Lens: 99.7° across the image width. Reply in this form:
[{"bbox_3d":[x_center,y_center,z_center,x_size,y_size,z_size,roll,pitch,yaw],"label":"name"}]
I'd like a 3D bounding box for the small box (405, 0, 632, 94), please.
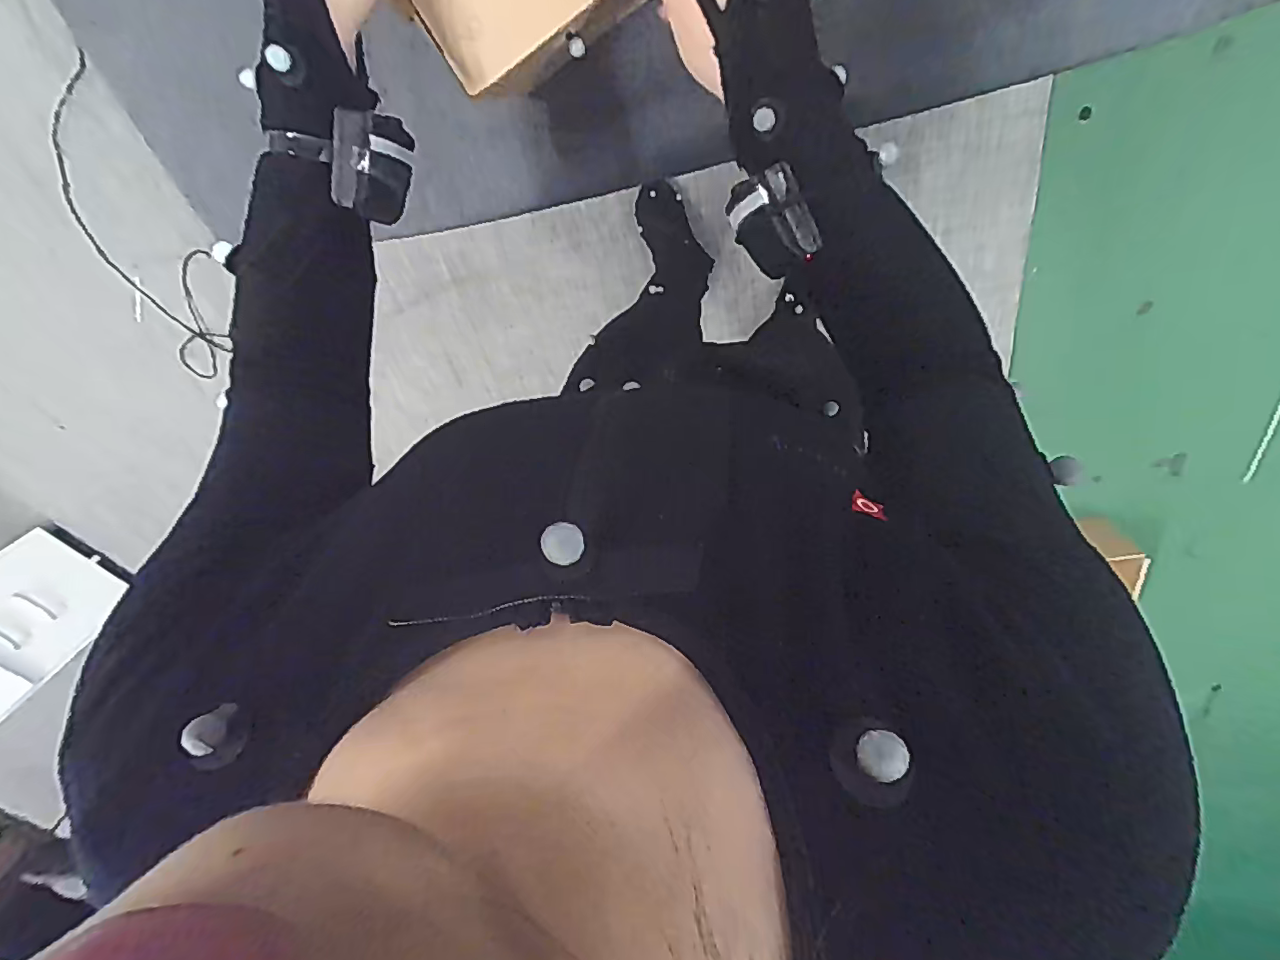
[{"bbox_3d":[-0.091,-0.422,0.398,0.179,0.176,0.168,-25,122,20],"label":"small box"}]
